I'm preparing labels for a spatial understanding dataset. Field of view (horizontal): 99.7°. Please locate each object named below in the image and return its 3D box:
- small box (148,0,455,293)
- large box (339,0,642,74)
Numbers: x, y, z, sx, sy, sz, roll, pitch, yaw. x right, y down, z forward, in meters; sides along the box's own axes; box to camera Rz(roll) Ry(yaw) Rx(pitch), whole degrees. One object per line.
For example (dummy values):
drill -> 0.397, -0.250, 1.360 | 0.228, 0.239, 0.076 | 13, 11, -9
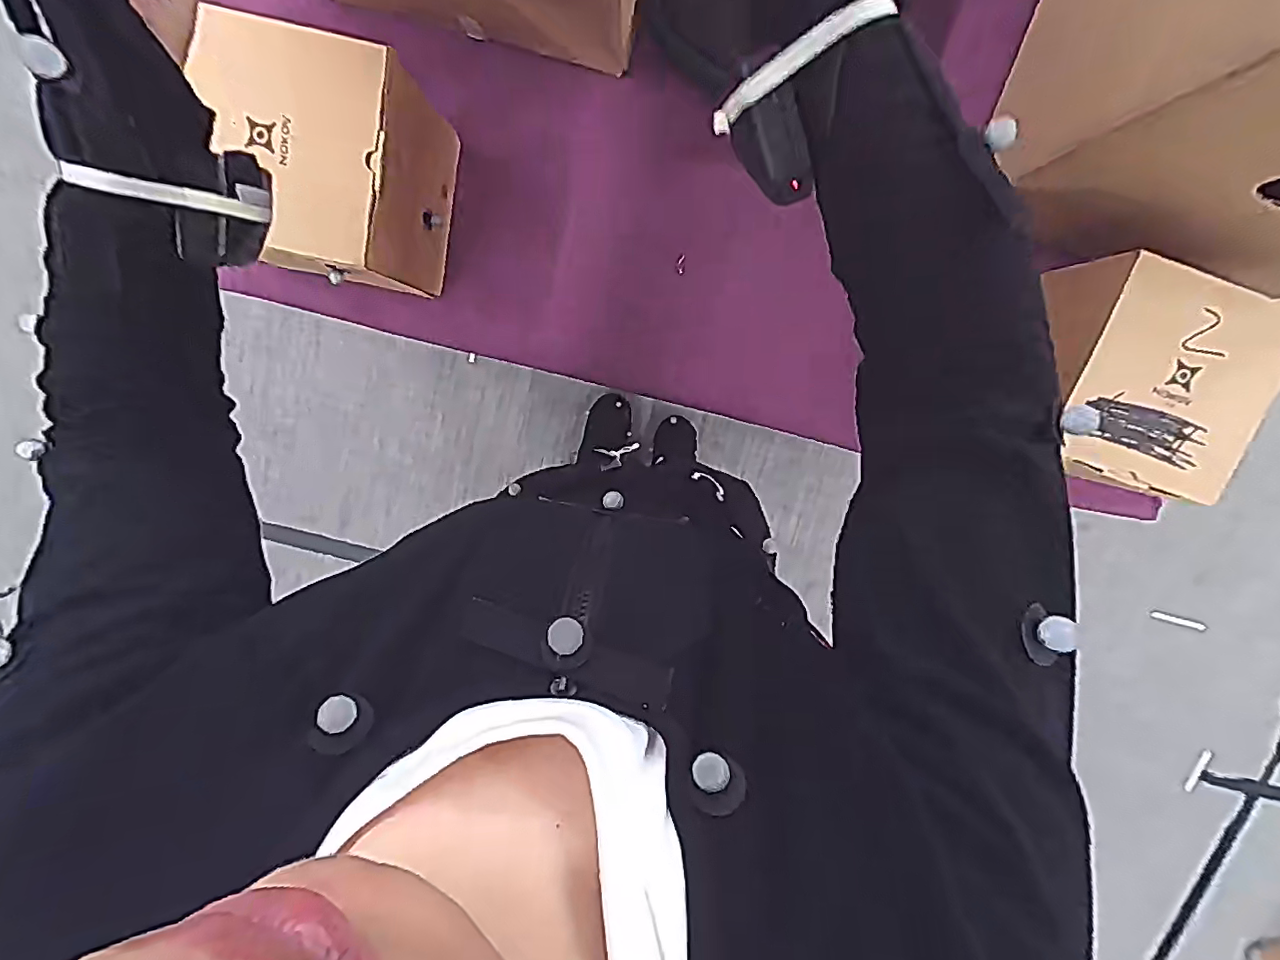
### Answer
small box -> -0.292, -0.282, 0.501 | 0.179, 0.176, 0.168 | 11, 100, -4
large box -> -0.118, -0.603, 0.366 | 0.320, 0.320, 0.408 | 12, 104, -2
